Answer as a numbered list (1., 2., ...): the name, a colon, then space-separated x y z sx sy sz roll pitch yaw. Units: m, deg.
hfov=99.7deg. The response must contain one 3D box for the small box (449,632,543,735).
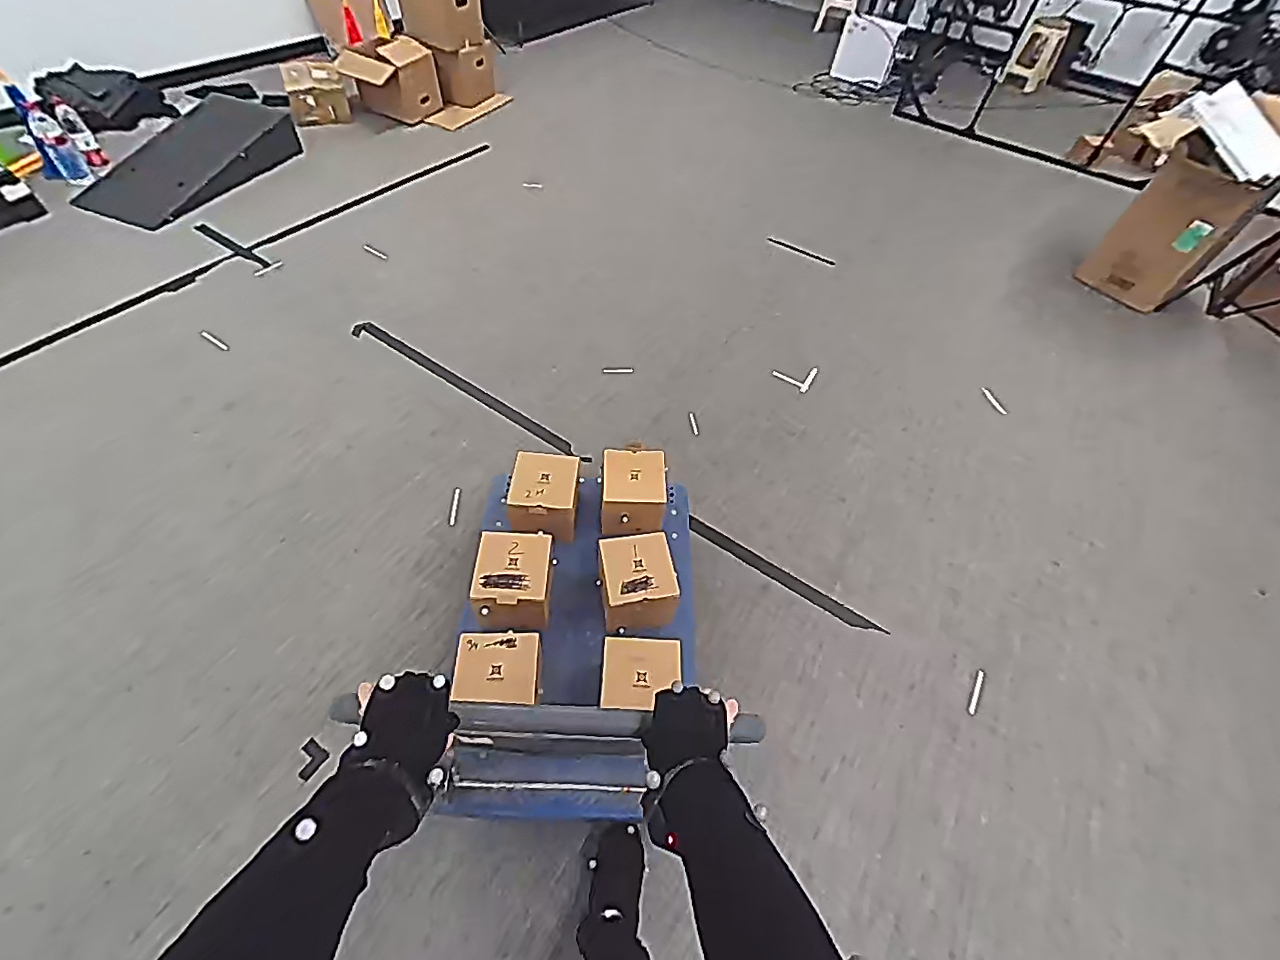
1. small box: -0.299 0.441 1.161 0.168 0.176 0.179 2 53 -6

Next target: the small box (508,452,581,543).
1. small box: -0.254 0.049 1.468 0.168 0.176 0.179 5 53 -2

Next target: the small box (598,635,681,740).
1. small box: -0.003 0.459 1.185 0.168 0.176 0.179 5 52 -4

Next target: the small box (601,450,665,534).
1. small box: -0.022 0.038 1.506 0.168 0.176 0.179 2 52 -5

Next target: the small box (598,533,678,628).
1. small box: -0.011 0.254 1.340 0.168 0.176 0.179 -5 53 -11
